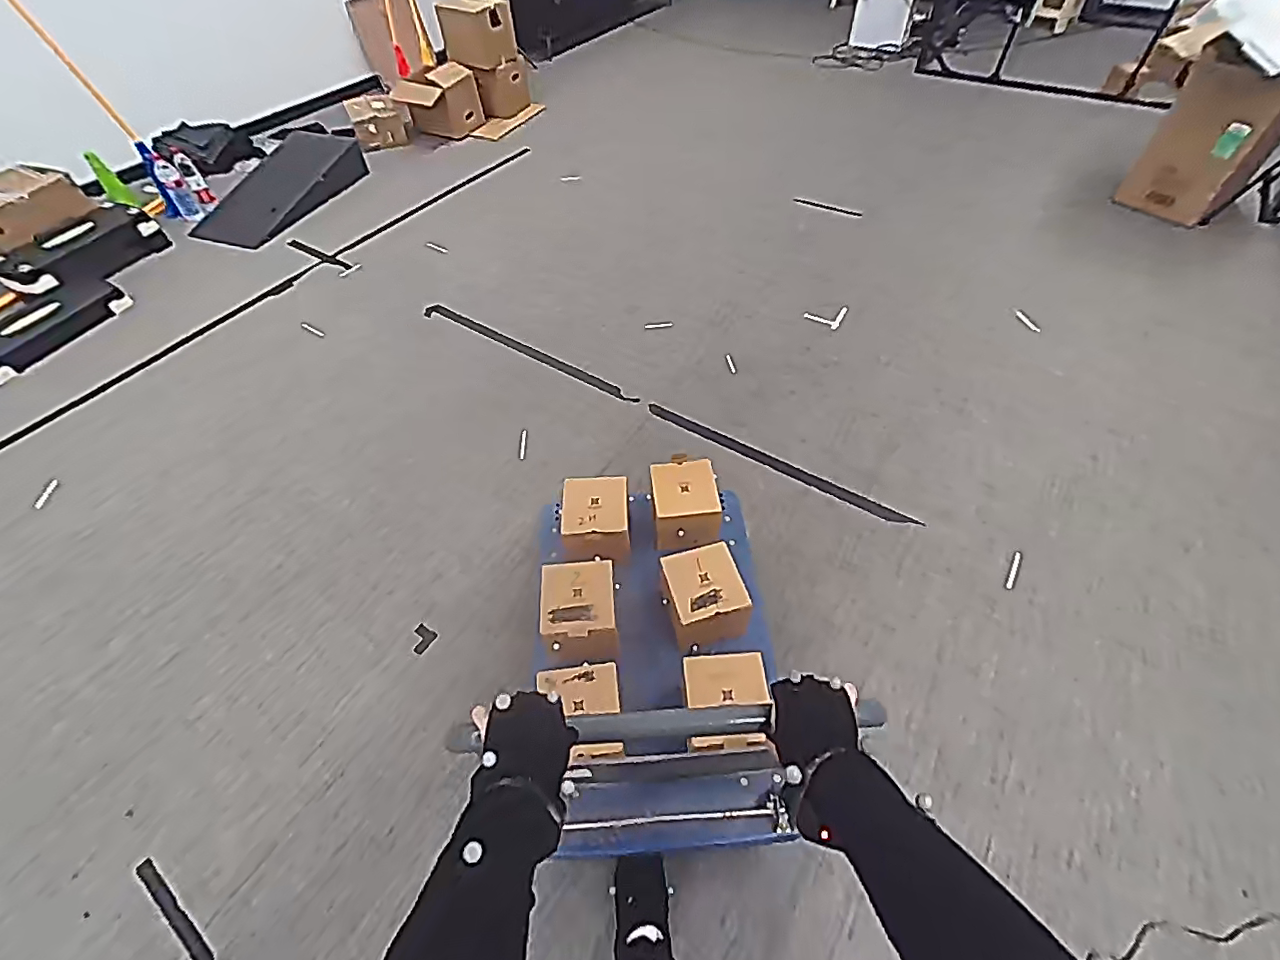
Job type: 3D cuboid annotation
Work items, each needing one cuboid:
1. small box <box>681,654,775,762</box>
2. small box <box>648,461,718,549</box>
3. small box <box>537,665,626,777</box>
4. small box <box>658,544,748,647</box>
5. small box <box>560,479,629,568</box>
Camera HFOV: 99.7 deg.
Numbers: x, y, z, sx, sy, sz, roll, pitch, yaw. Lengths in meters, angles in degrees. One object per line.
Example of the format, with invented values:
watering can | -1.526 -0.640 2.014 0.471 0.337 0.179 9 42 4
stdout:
small box | 0.177 0.486 1.142 0.168 0.176 0.179 -3 51 -1
small box | 0.114 0.075 1.470 0.168 0.176 0.179 -6 51 -3
small box | -0.120 0.509 1.132 0.168 0.176 0.179 -6 52 -4
small box | 0.147 0.285 1.301 0.168 0.176 0.179 -13 51 -8
small box | -0.116 0.118 1.442 0.168 0.176 0.179 -2 52 0
